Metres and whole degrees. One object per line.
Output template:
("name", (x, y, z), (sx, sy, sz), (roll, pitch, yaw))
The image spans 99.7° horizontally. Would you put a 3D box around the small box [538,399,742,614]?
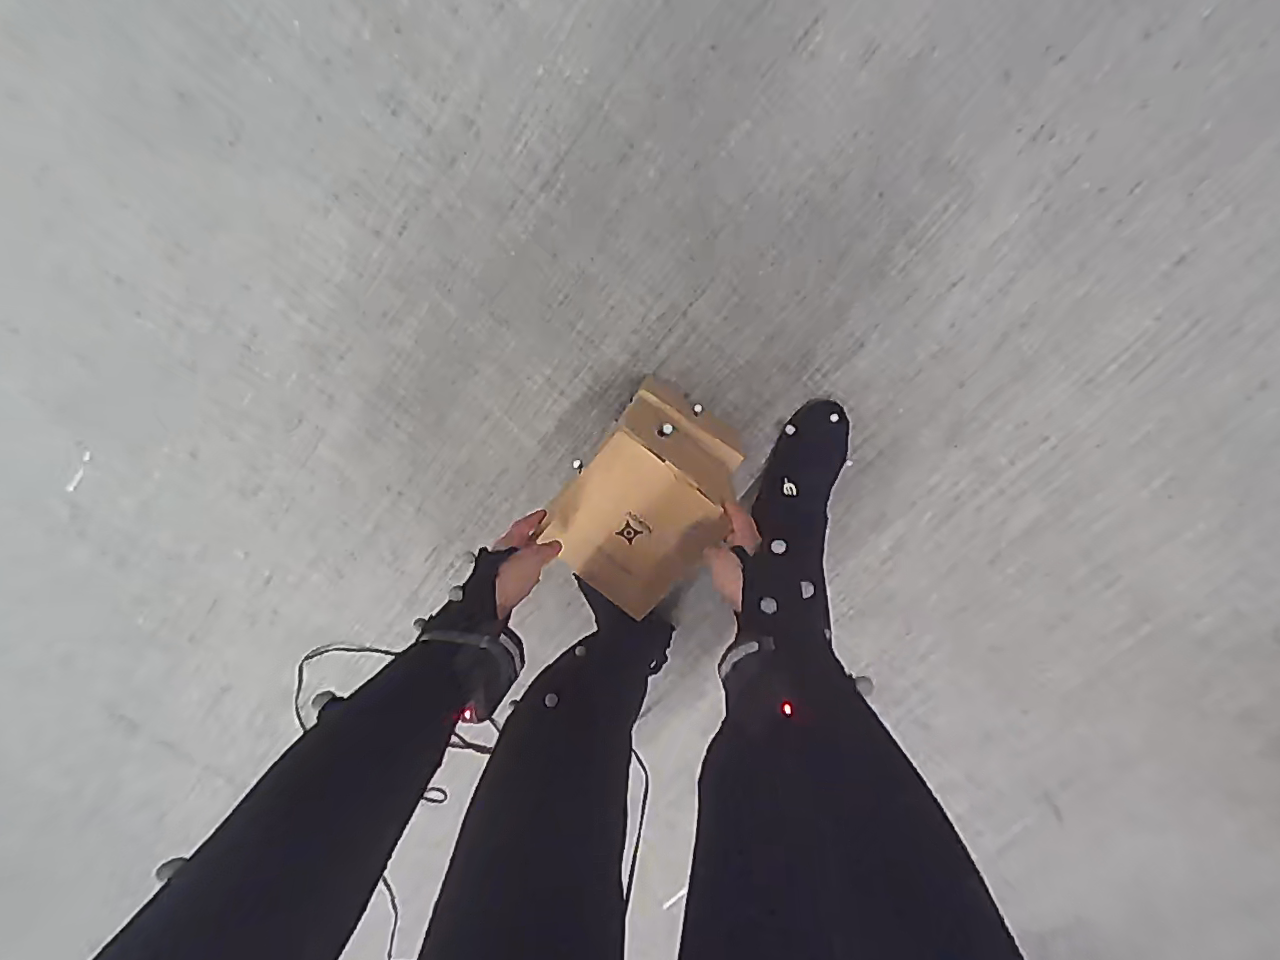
("small box", (0.005, 0.023, 0.675), (0.168, 0.176, 0.179), (39, 110, -7))
